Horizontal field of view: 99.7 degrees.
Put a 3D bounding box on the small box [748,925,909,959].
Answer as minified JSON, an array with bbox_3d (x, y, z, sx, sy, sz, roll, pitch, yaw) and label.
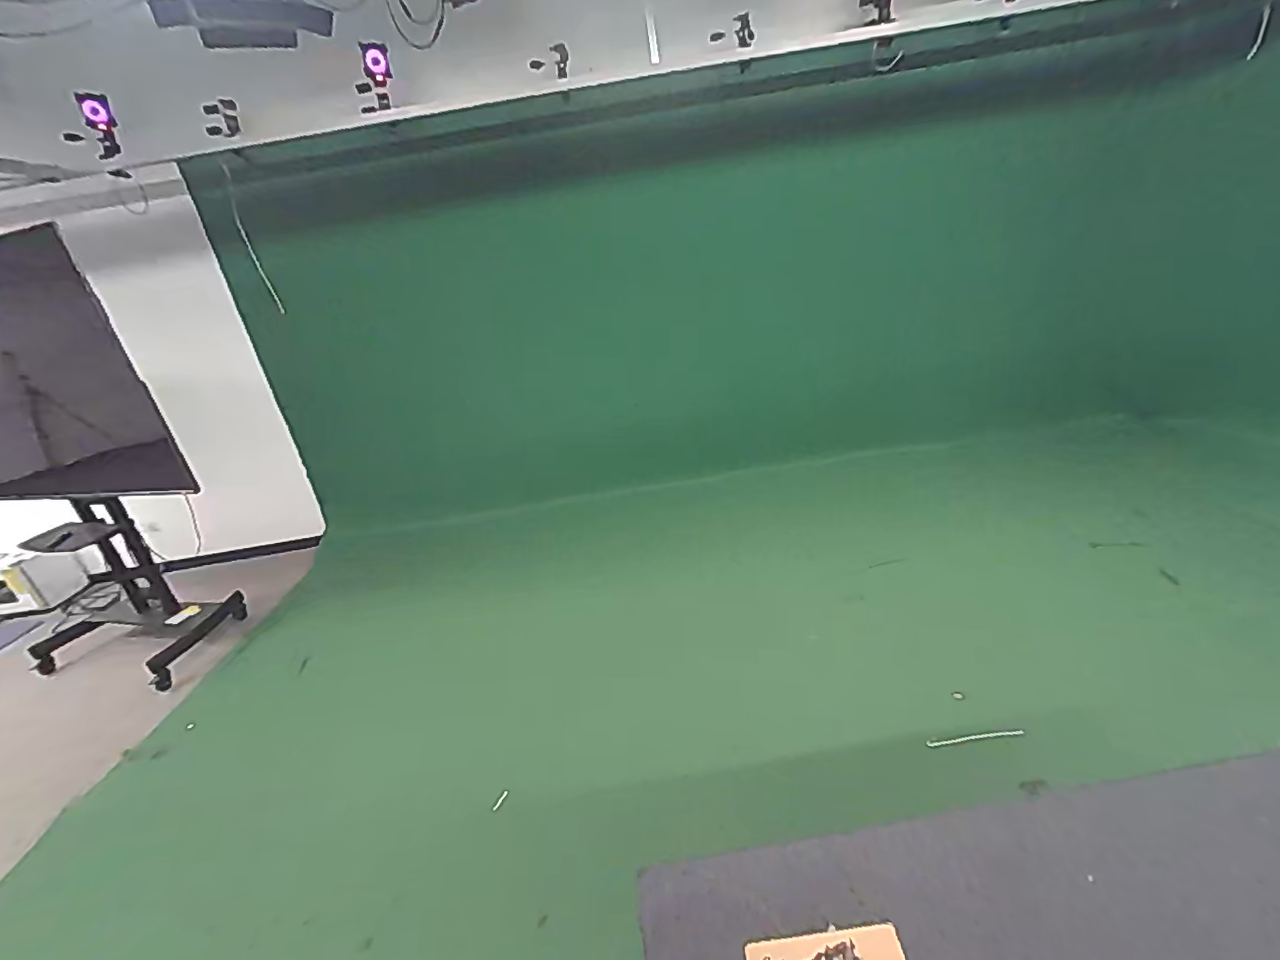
[{"bbox_3d":[0.217,0.604,0.548,0.168,0.176,0.179,-13,26,5],"label":"small box"}]
